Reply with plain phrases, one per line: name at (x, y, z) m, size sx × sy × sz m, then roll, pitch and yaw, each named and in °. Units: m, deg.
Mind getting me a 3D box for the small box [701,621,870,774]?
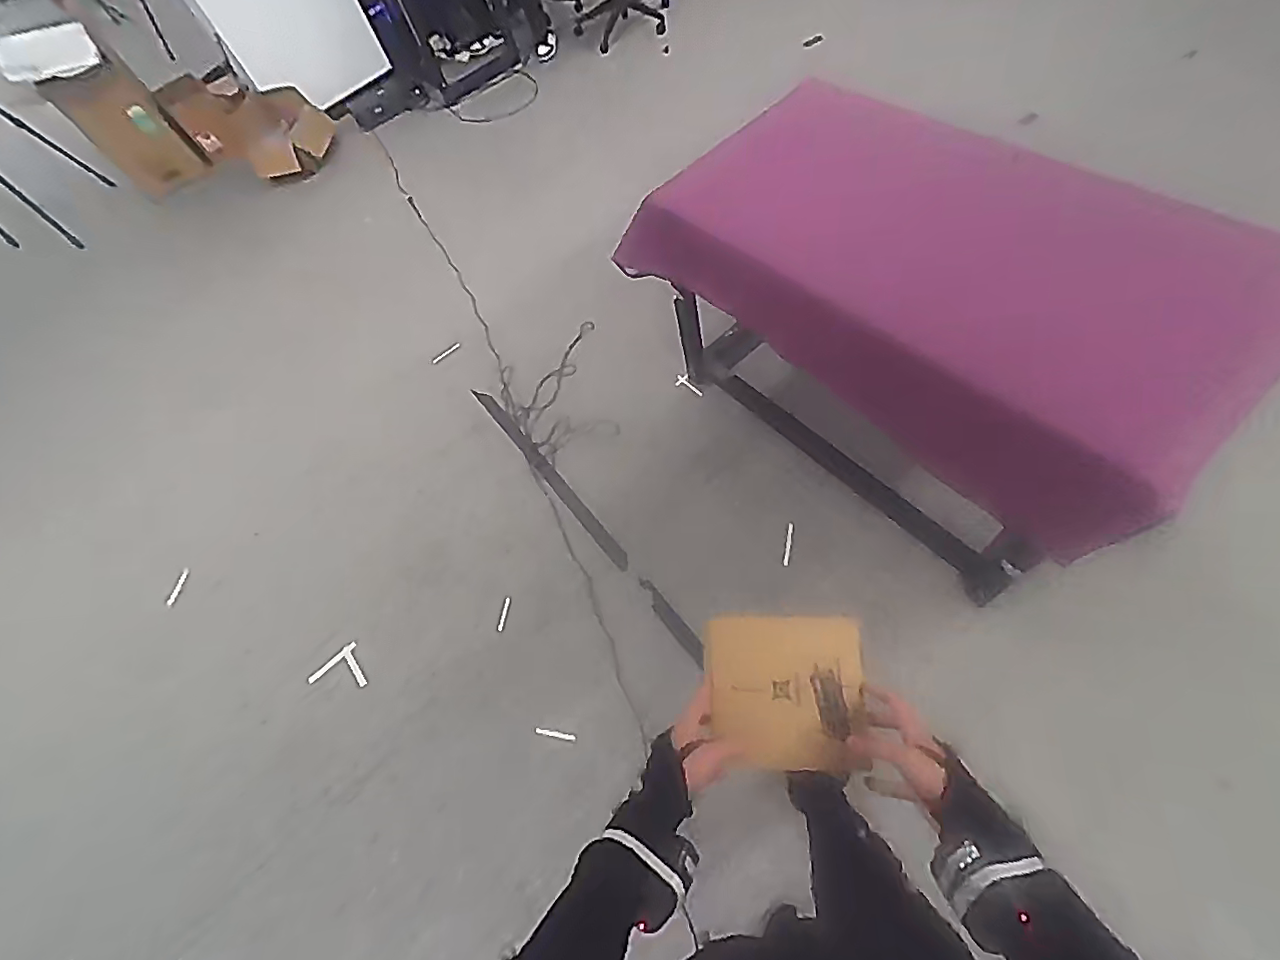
small box at (0.173, 0.269, 0.699) m, size 0.179 × 0.176 × 0.168 m, roll -1°, pitch 73°, yaw 4°
